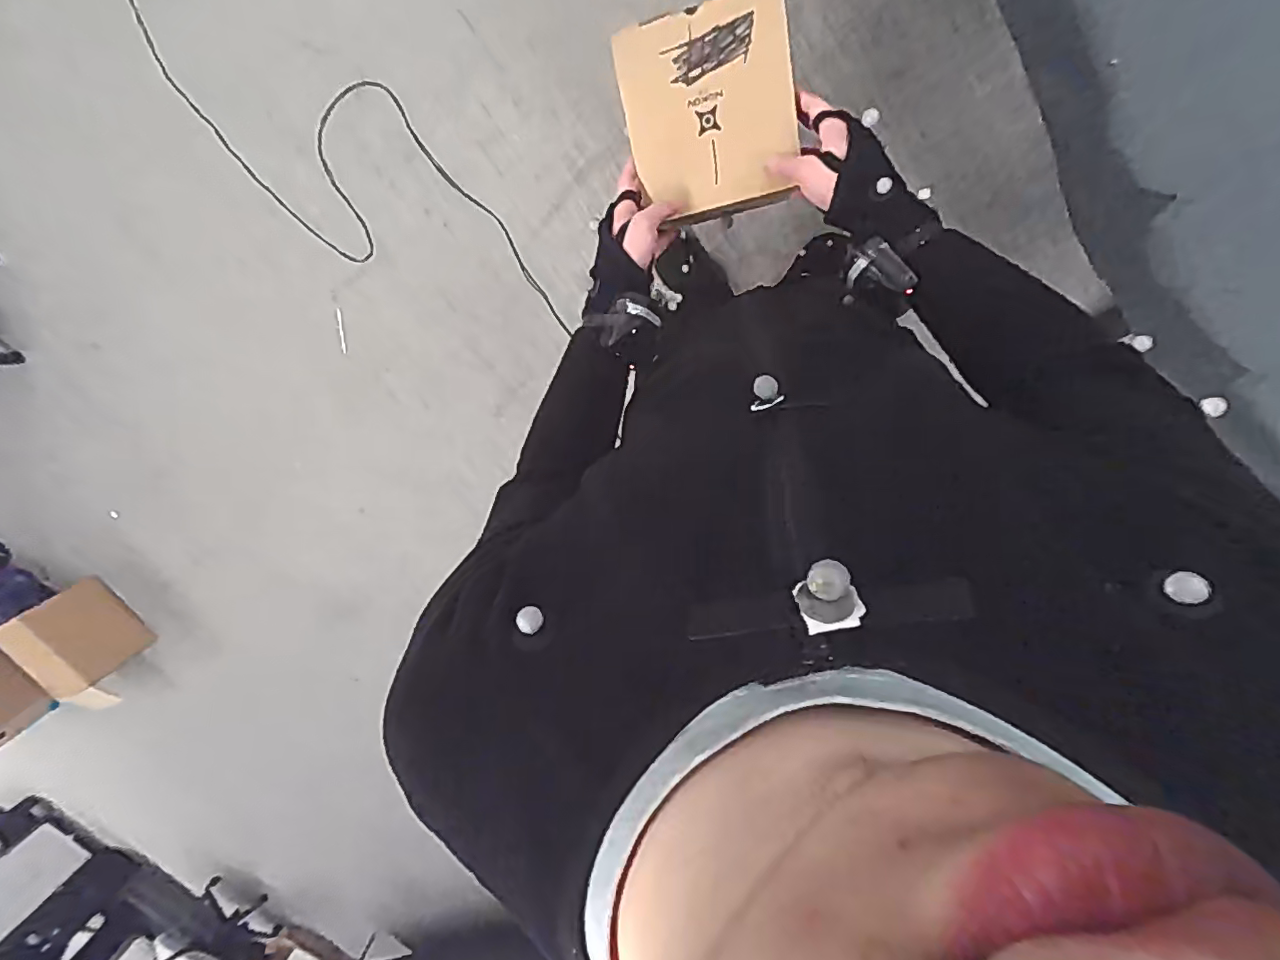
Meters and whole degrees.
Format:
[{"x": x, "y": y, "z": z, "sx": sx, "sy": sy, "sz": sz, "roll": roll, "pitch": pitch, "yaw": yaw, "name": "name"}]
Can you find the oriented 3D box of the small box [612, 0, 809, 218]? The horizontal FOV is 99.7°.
[{"x": 0.084, "y": -0.396, "z": 0.580, "sx": 0.168, "sy": 0.176, "sz": 0.179, "roll": -7, "pitch": 112, "yaw": 17, "name": "small box"}]
